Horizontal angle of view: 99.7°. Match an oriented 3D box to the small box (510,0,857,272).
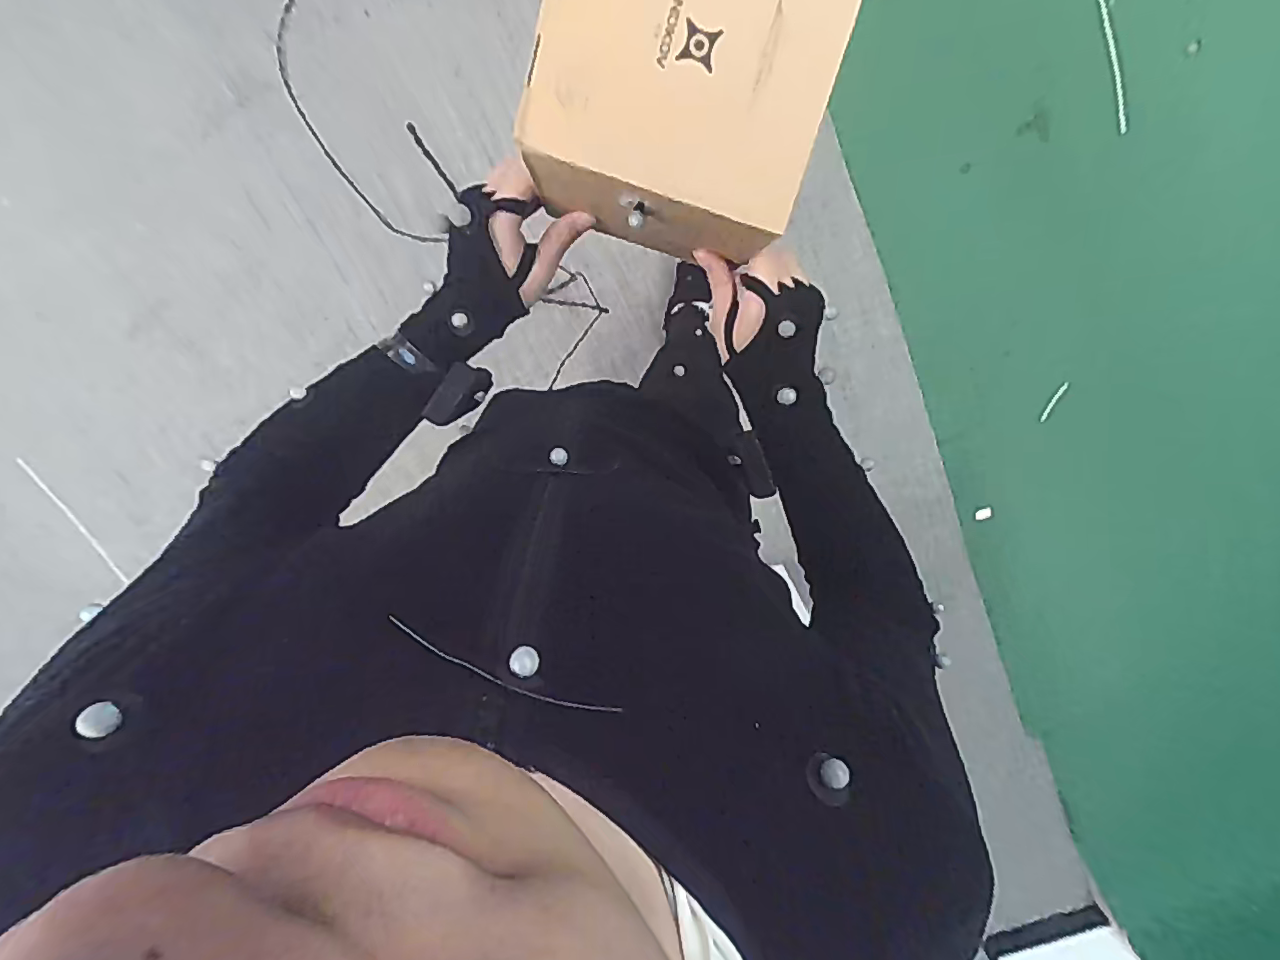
[{"bbox_3d":[0.024,-0.267,0.395,0.179,0.176,0.168,16,101,-6],"label":"small box"}]
